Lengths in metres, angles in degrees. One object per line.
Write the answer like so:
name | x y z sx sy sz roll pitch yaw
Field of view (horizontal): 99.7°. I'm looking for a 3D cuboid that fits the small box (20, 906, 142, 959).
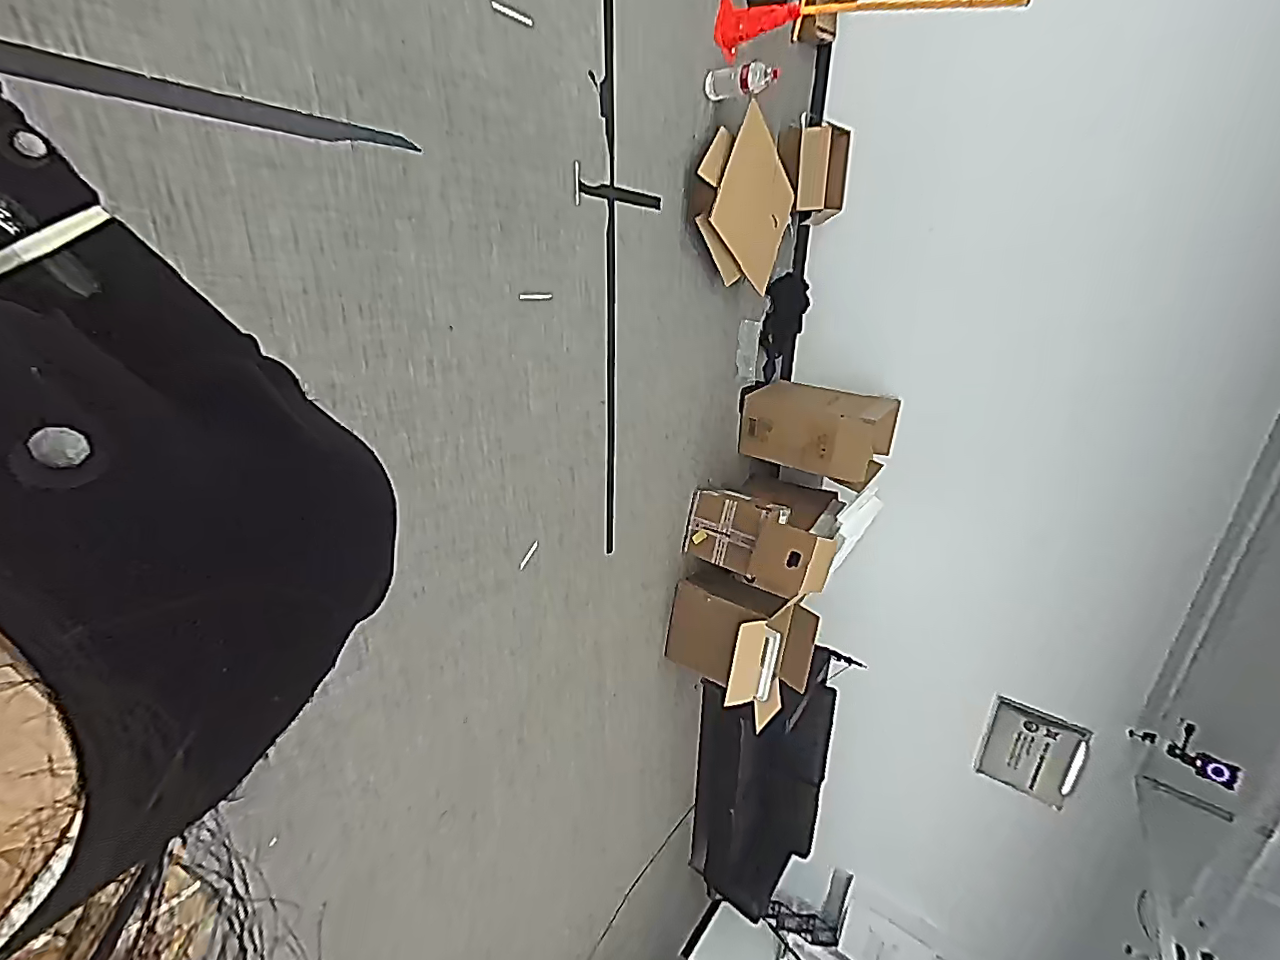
small box | -1.022 0.939 0.978 0.179 0.176 0.168 -25 122 -48
